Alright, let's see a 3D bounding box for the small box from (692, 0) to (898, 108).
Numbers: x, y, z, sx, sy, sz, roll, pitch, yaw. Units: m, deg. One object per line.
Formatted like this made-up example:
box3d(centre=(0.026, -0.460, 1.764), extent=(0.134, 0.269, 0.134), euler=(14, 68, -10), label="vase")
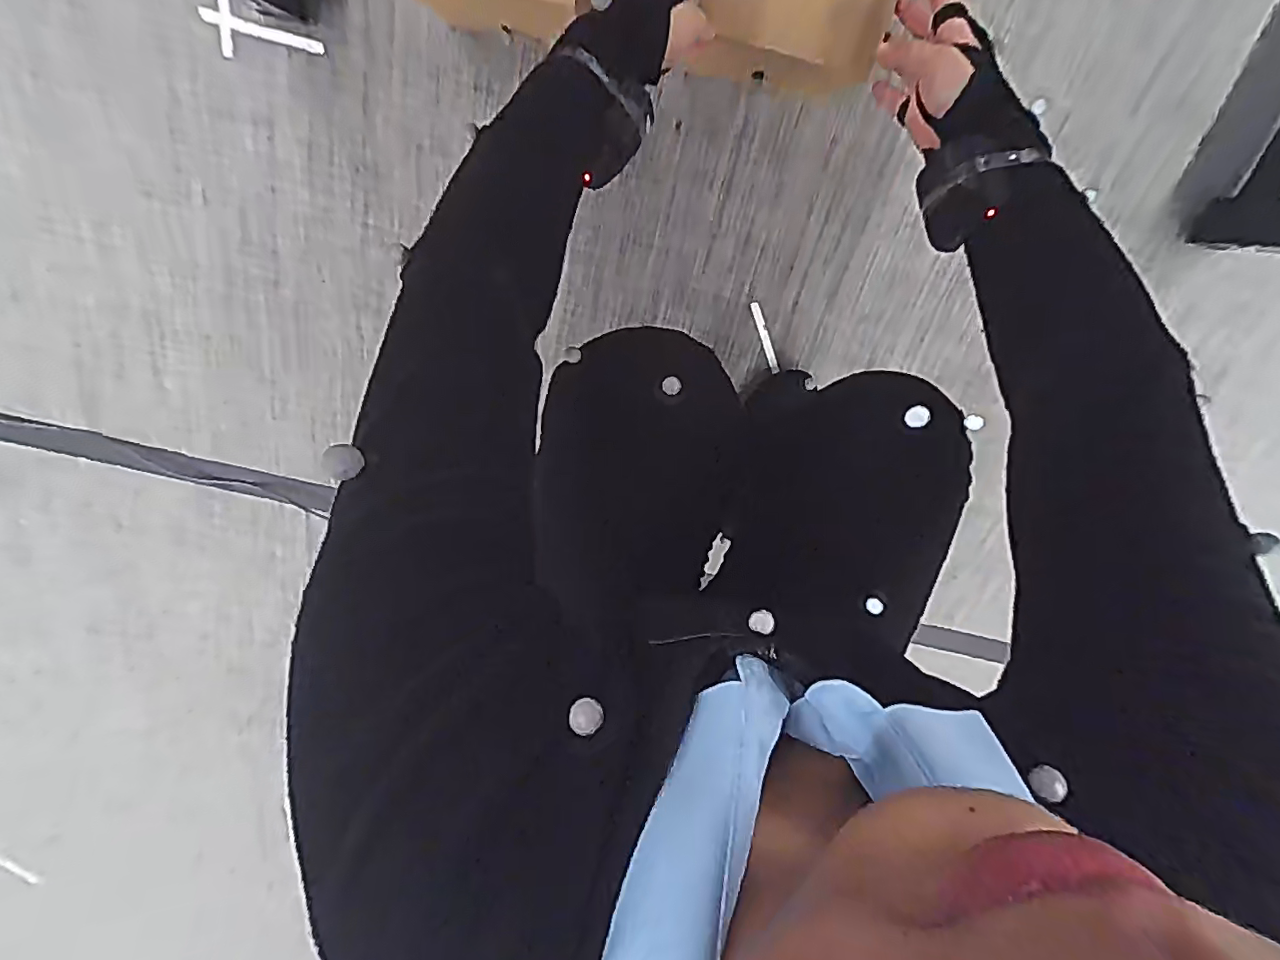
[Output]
box3d(centre=(0.152, -0.489, 0.520), extent=(0.168, 0.176, 0.179), euler=(13, 115, -6), label="small box")
